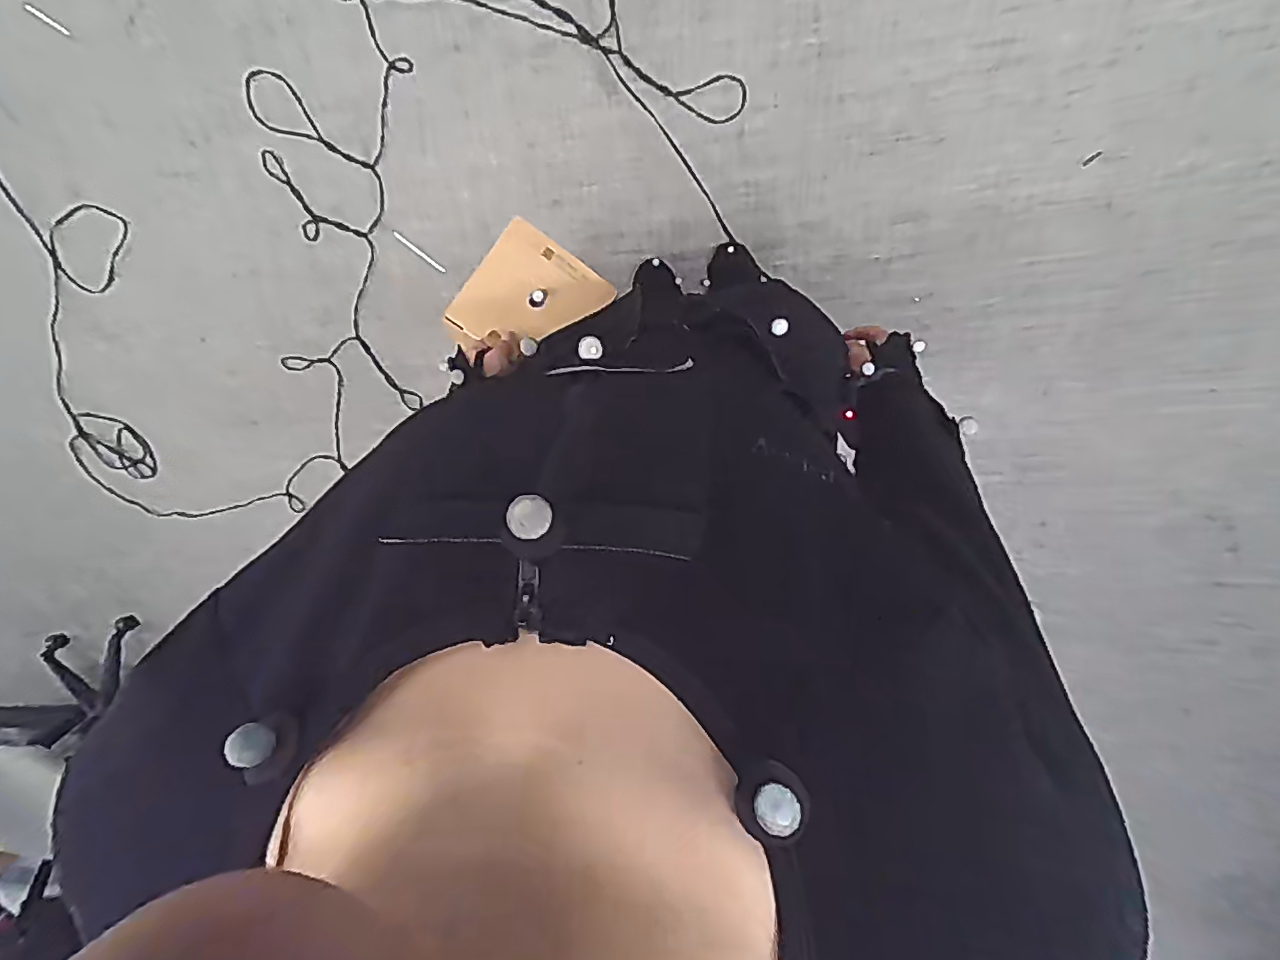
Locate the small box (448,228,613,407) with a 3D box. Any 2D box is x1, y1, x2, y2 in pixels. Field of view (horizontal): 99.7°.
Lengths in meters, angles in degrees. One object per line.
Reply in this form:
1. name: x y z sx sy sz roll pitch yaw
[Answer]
1. small box: -0.159 -0.231 0.796 0.168 0.179 0.176 35 83 -13
